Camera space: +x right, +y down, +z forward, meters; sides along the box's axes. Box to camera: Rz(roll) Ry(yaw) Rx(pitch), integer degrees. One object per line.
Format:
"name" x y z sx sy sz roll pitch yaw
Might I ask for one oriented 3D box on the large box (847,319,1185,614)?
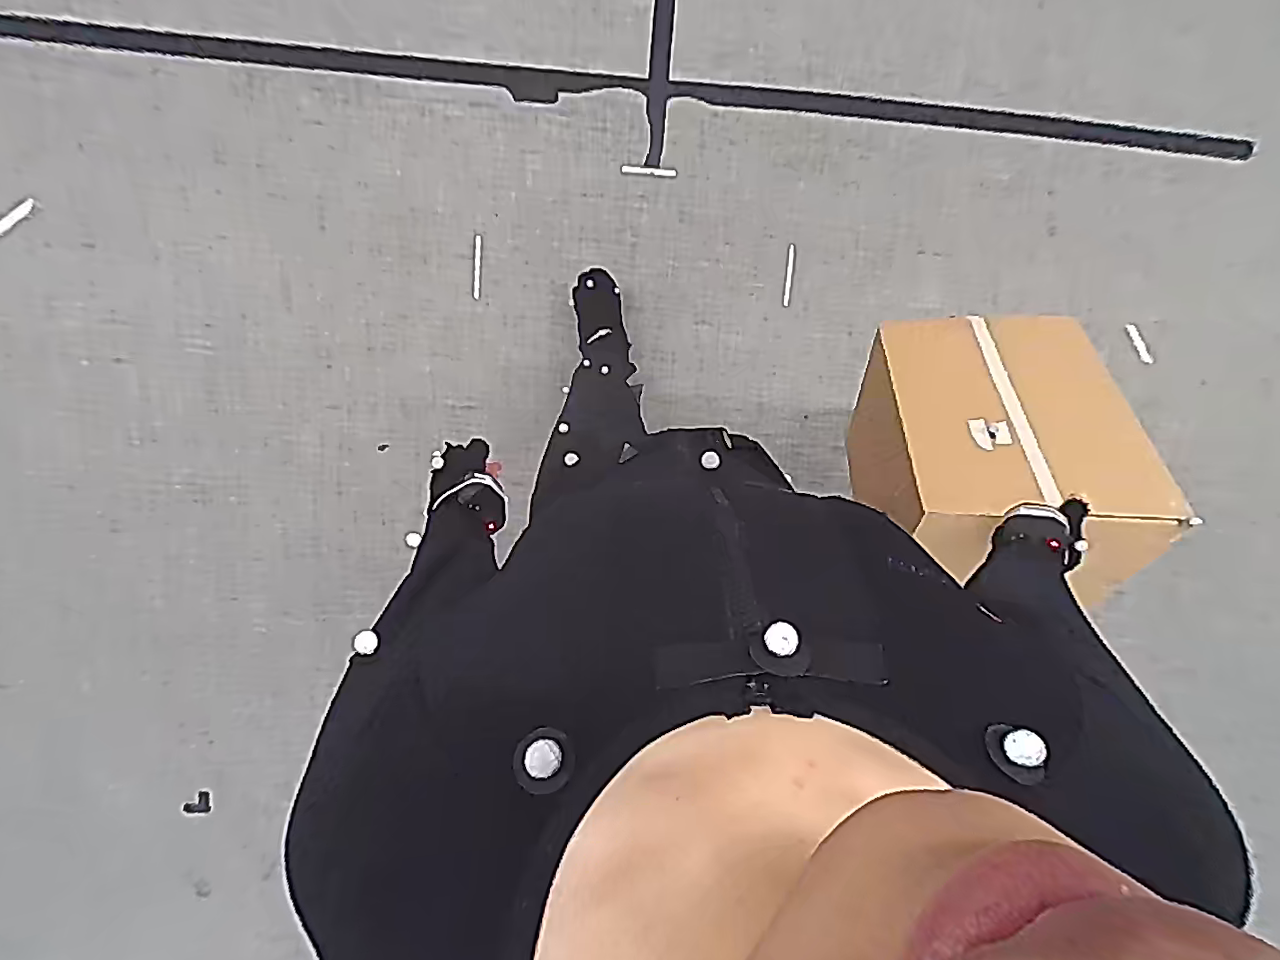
"large box" 0.567 -0.025 0.930 0.320 0.320 0.408 2 54 9
